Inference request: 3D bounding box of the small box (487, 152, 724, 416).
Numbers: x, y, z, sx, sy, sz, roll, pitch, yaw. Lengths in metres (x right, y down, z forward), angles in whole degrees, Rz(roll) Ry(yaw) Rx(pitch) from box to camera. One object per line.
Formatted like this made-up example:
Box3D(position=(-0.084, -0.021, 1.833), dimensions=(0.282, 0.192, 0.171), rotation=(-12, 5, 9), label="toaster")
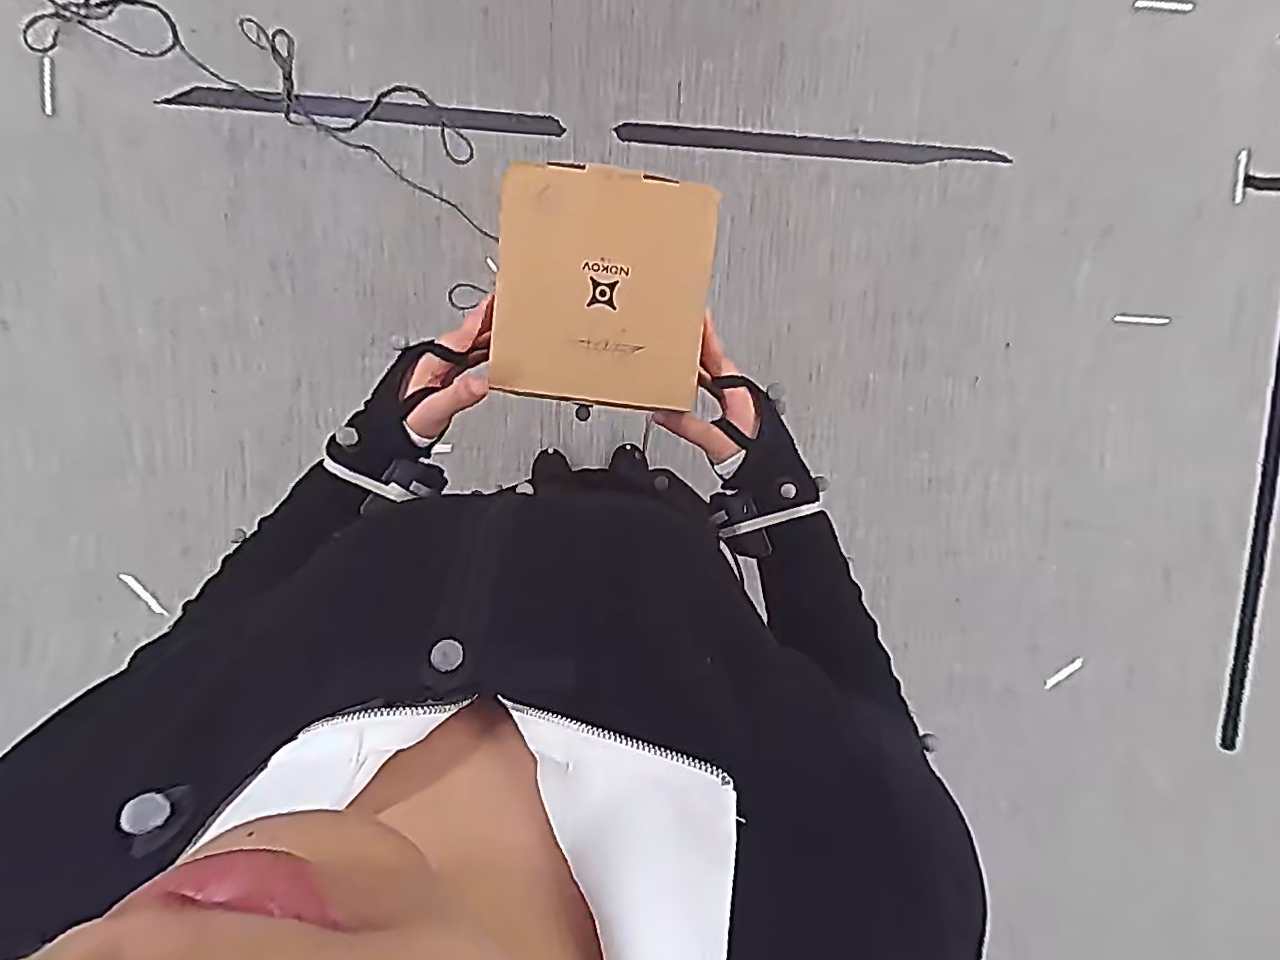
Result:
Box3D(position=(-0.032, -0.156, 0.493), dimensions=(0.168, 0.176, 0.179), rotation=(7, 96, -4), label="small box")
